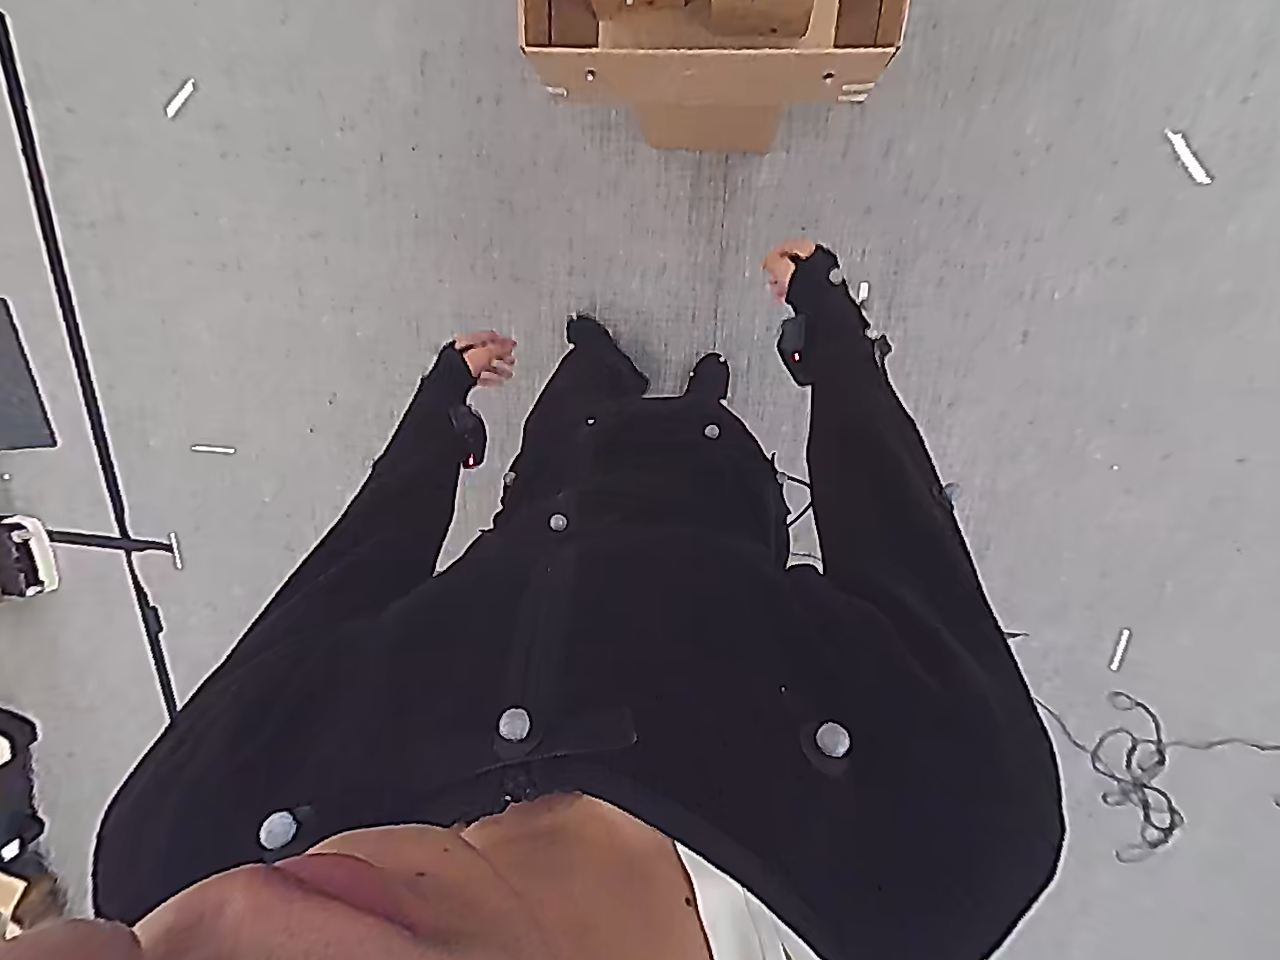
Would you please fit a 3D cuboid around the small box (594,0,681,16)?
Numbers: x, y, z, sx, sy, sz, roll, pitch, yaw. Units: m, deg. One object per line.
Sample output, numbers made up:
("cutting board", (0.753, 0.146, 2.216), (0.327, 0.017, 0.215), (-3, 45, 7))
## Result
("small box", (-0.016, -0.907, 0.873), (0.168, 0.176, 0.179), (-3, 106, 8))
